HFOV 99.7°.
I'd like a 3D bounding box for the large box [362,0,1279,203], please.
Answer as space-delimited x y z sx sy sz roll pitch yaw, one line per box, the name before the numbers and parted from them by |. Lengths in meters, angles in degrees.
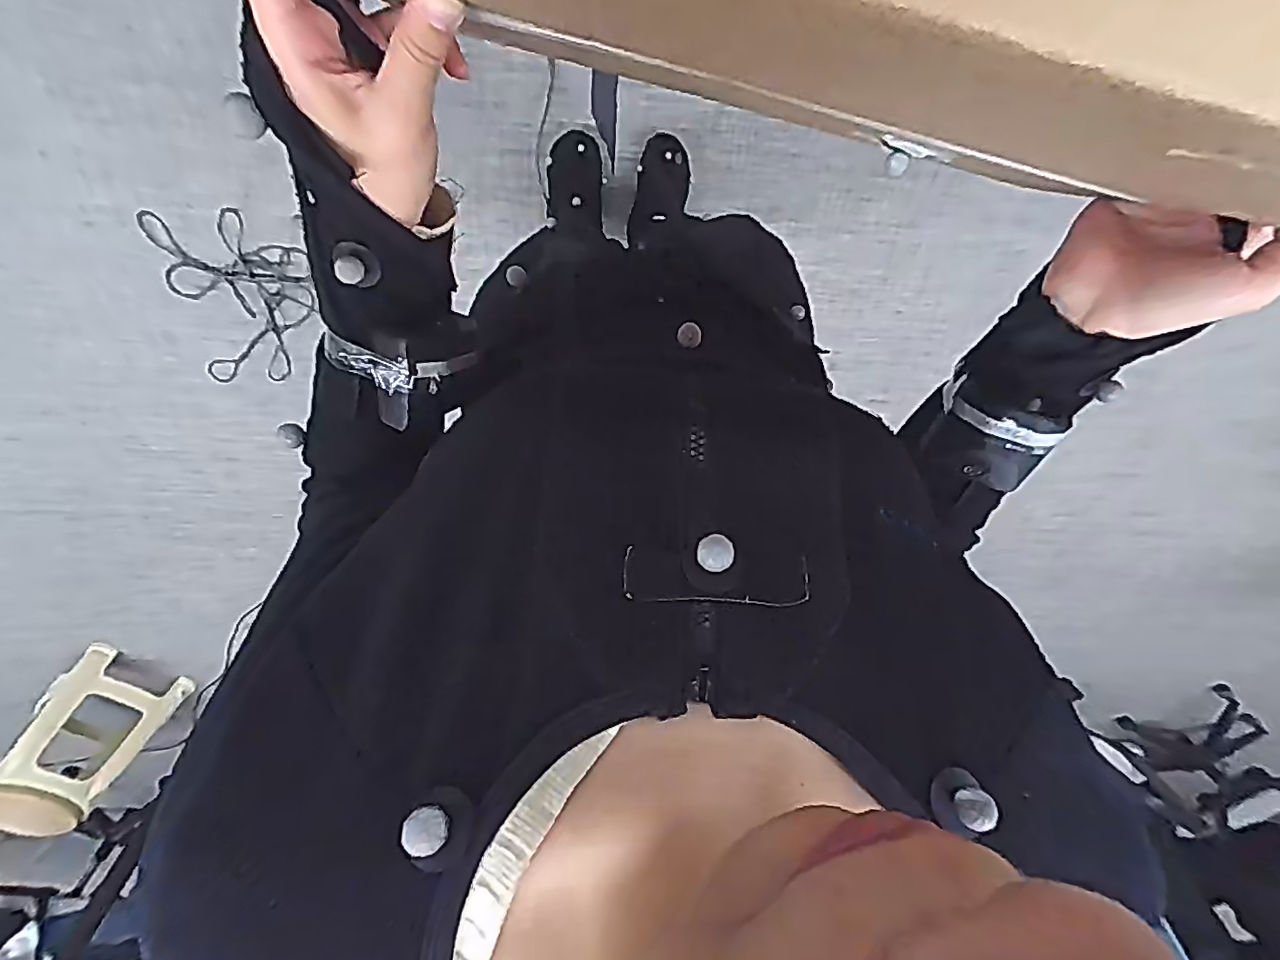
large box | 0.096 -0.293 0.147 0.408 0.320 0.320 8 124 -8
